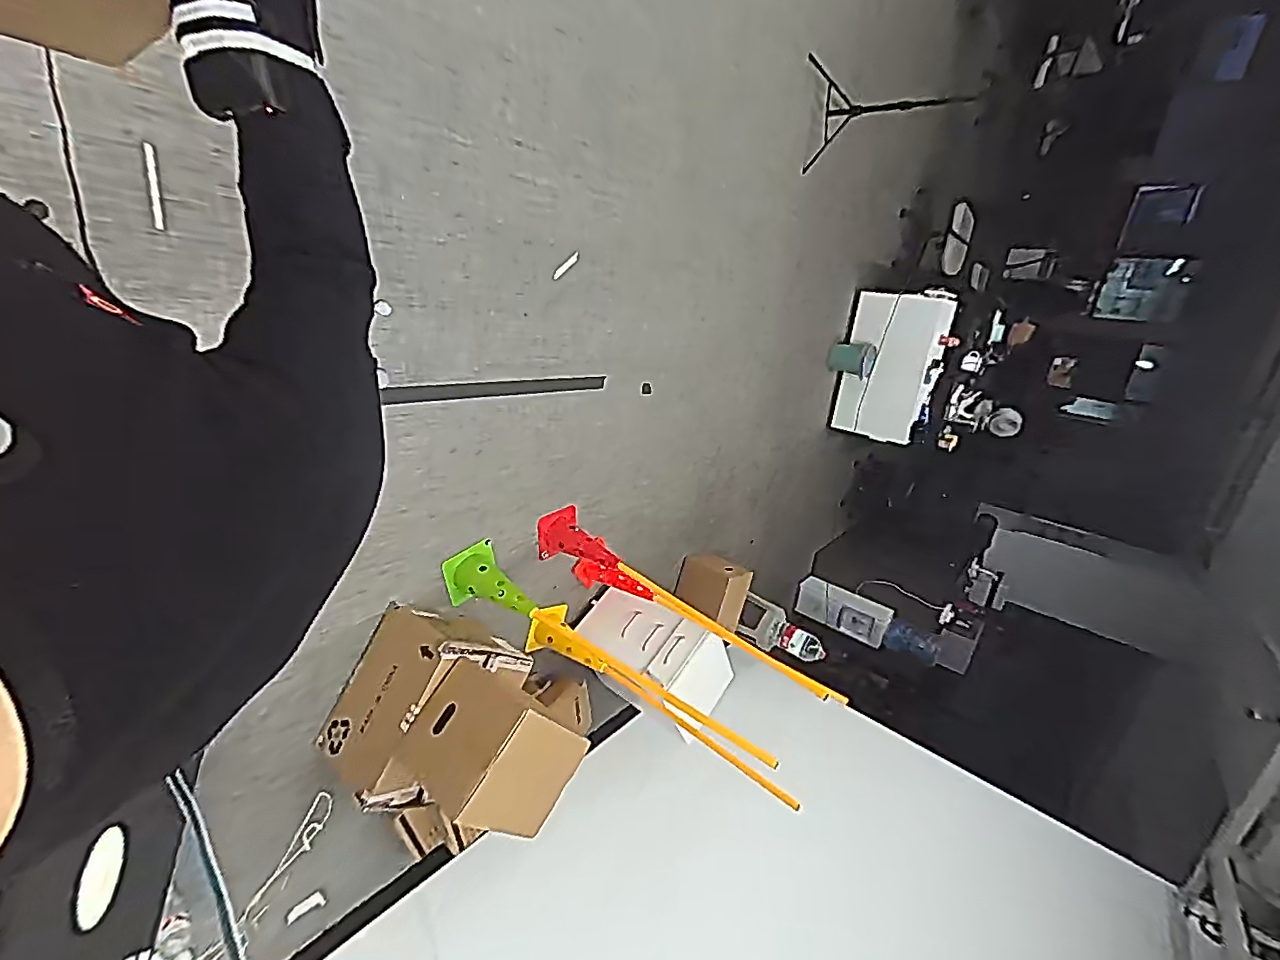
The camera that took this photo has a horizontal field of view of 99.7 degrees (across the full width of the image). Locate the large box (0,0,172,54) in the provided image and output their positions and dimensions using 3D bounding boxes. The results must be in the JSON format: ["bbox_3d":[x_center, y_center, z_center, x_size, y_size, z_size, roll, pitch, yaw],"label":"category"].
[{"bbox_3d":[-0.509,-0.473,0.244,0.408,0.320,0.320,-16,120,-48],"label":"large box"}]
